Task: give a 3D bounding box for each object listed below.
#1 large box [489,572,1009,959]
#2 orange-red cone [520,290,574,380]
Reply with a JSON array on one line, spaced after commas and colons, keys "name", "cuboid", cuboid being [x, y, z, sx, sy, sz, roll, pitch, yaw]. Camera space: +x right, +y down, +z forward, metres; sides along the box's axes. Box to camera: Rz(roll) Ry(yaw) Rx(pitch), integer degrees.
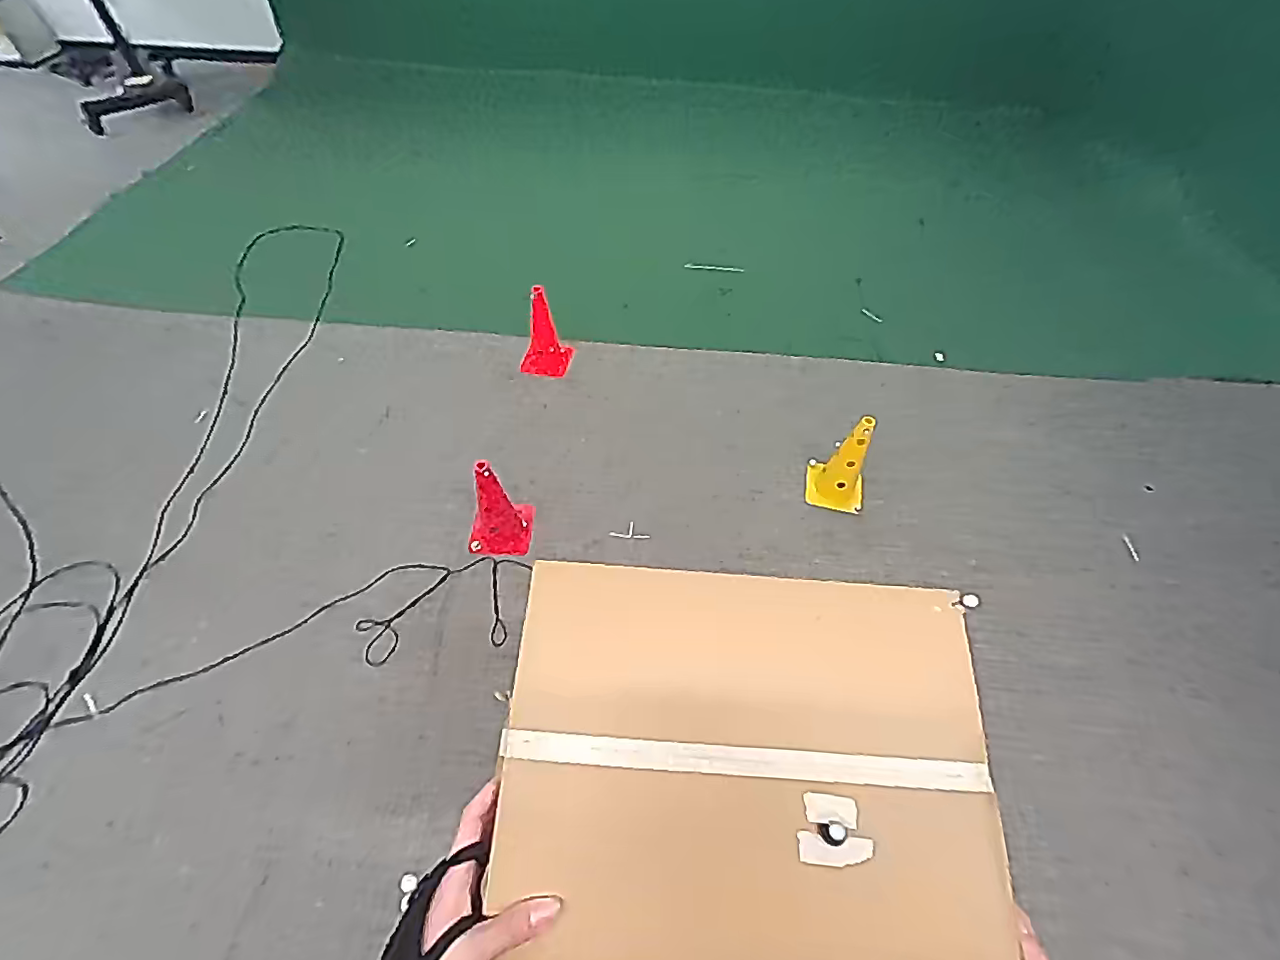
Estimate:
[{"name": "large box", "cuboid": [0.084, 0.299, 0.598, 0.408, 0.320, 0.320, 4, 67, 0]}, {"name": "orange-red cone", "cuboid": [-0.403, -0.615, 2.223, 0.199, 0.360, 0.198, 10, 53, 7]}]
